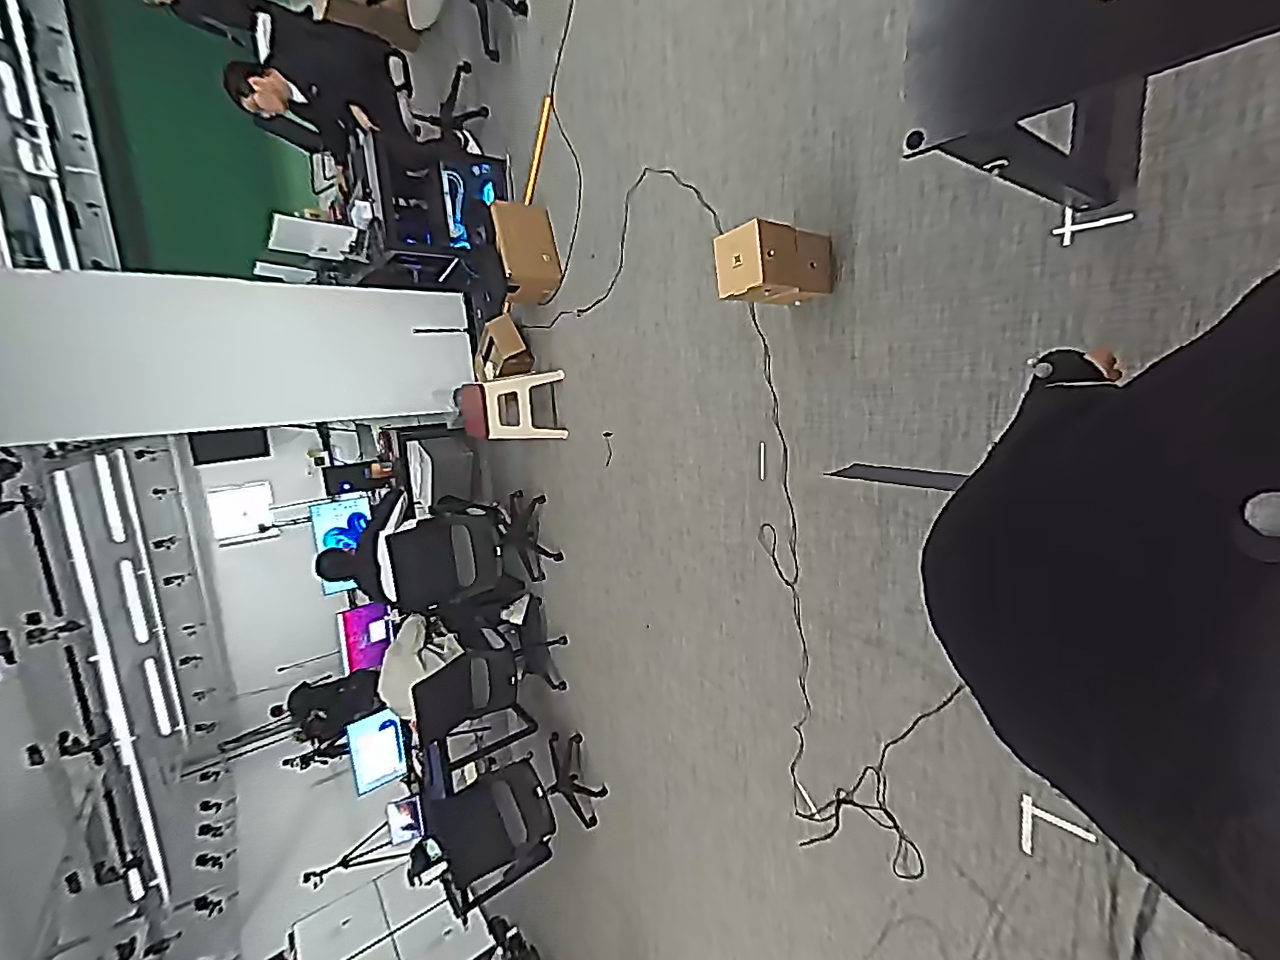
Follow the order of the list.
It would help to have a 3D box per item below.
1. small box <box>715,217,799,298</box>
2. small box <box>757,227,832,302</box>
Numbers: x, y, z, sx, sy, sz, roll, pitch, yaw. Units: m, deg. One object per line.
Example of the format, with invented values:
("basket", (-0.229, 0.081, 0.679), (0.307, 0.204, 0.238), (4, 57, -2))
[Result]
("small box", (0.341, -0.633, 1.562), (0.168, 0.176, 0.179), (0, 98, 53))
("small box", (0.471, -0.652, 1.658), (0.168, 0.176, 0.179), (5, 104, 53))
